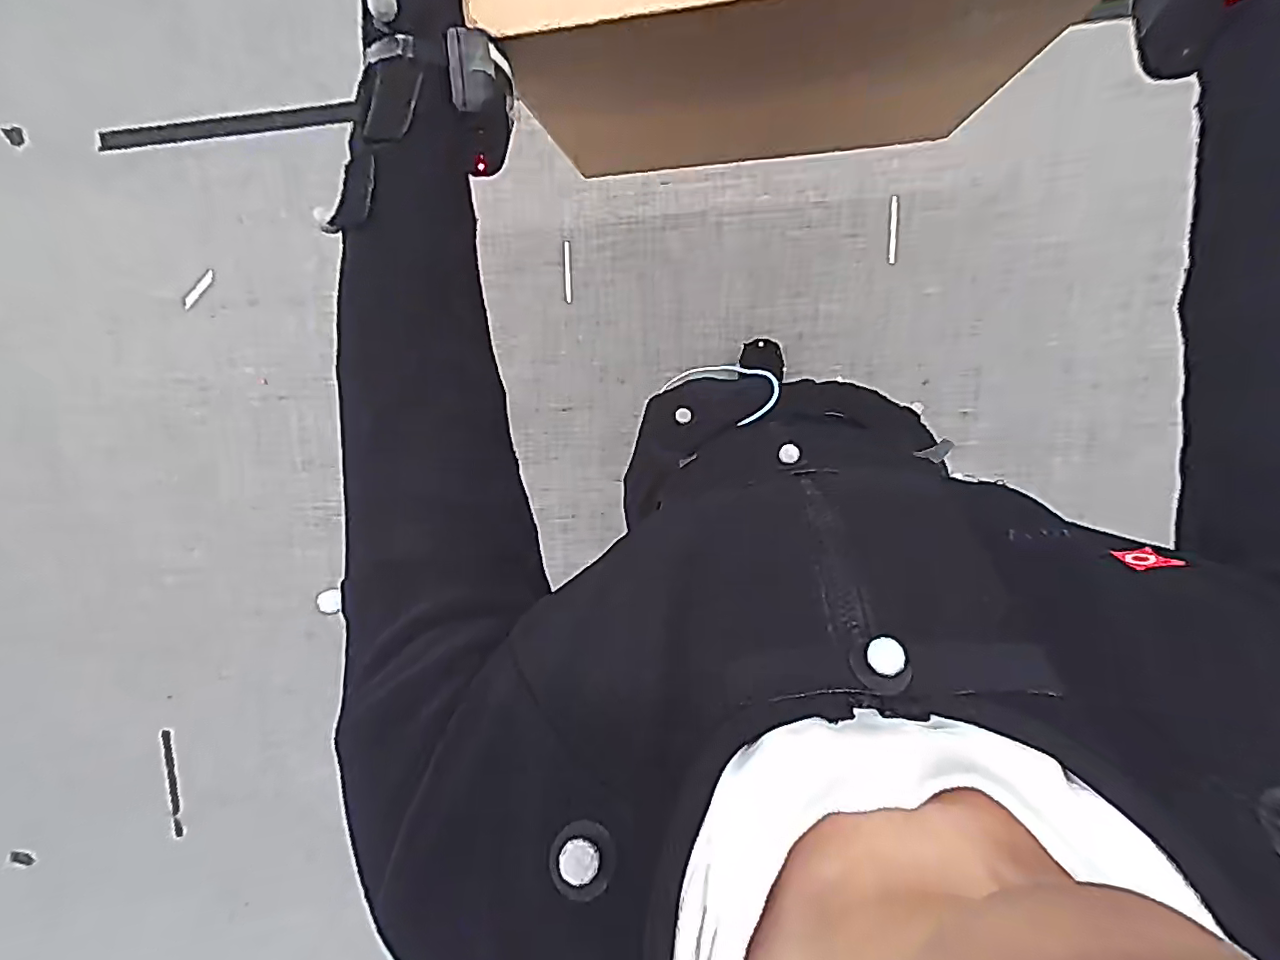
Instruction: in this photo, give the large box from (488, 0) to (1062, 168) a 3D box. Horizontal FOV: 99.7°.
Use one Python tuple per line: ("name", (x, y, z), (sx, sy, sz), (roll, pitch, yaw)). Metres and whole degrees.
("large box", (0.101, -0.487, 0.433), (0.408, 0.320, 0.320), (-2, 105, 8))
